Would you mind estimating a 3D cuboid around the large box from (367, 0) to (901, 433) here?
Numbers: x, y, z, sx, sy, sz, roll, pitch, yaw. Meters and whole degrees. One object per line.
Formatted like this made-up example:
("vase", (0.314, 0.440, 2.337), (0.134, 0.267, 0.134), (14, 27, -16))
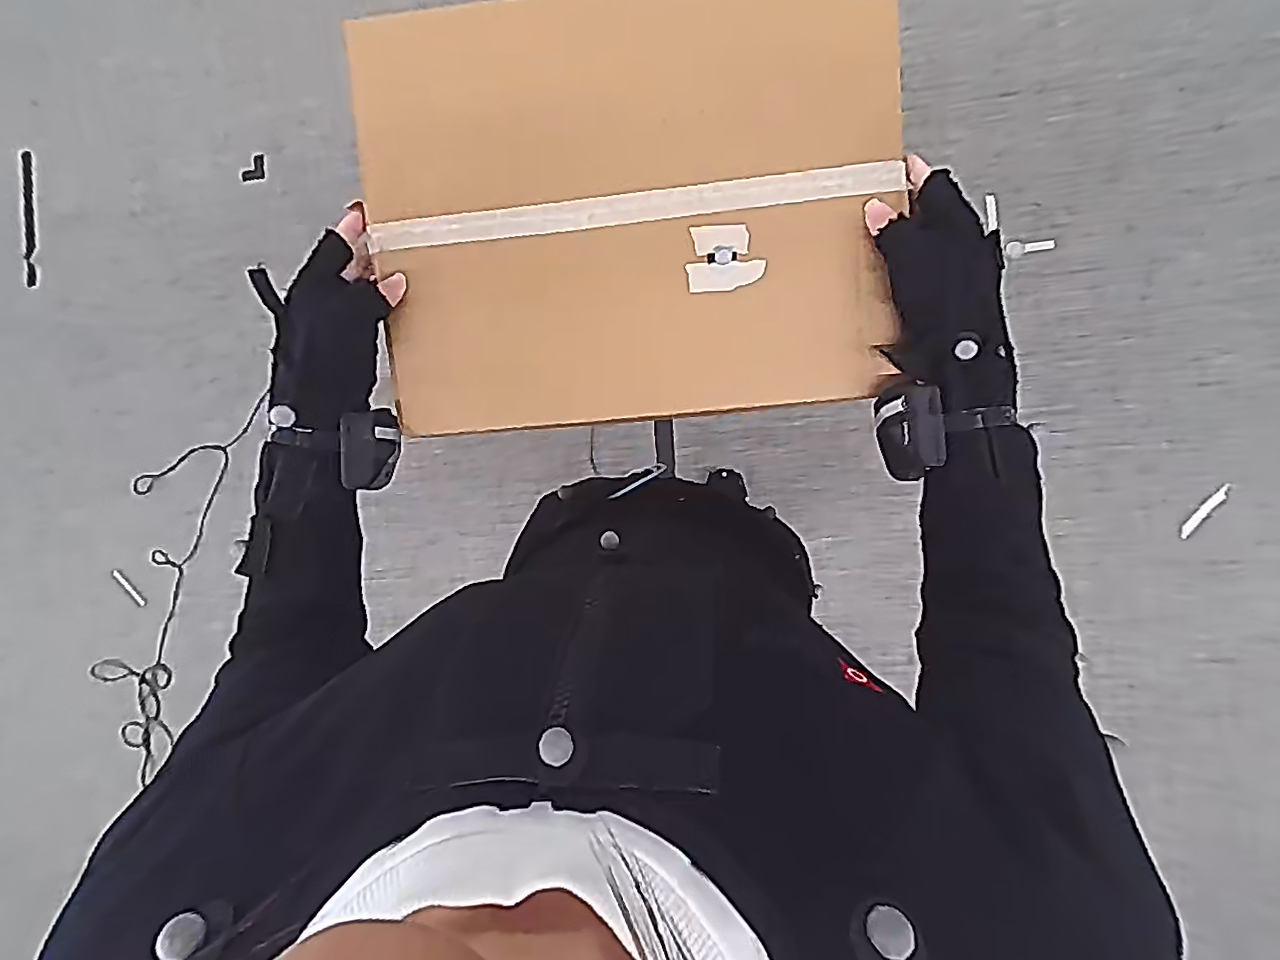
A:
("large box", (0.002, -0.226, 0.573), (0.408, 0.320, 0.320), (-5, 97, 3))
